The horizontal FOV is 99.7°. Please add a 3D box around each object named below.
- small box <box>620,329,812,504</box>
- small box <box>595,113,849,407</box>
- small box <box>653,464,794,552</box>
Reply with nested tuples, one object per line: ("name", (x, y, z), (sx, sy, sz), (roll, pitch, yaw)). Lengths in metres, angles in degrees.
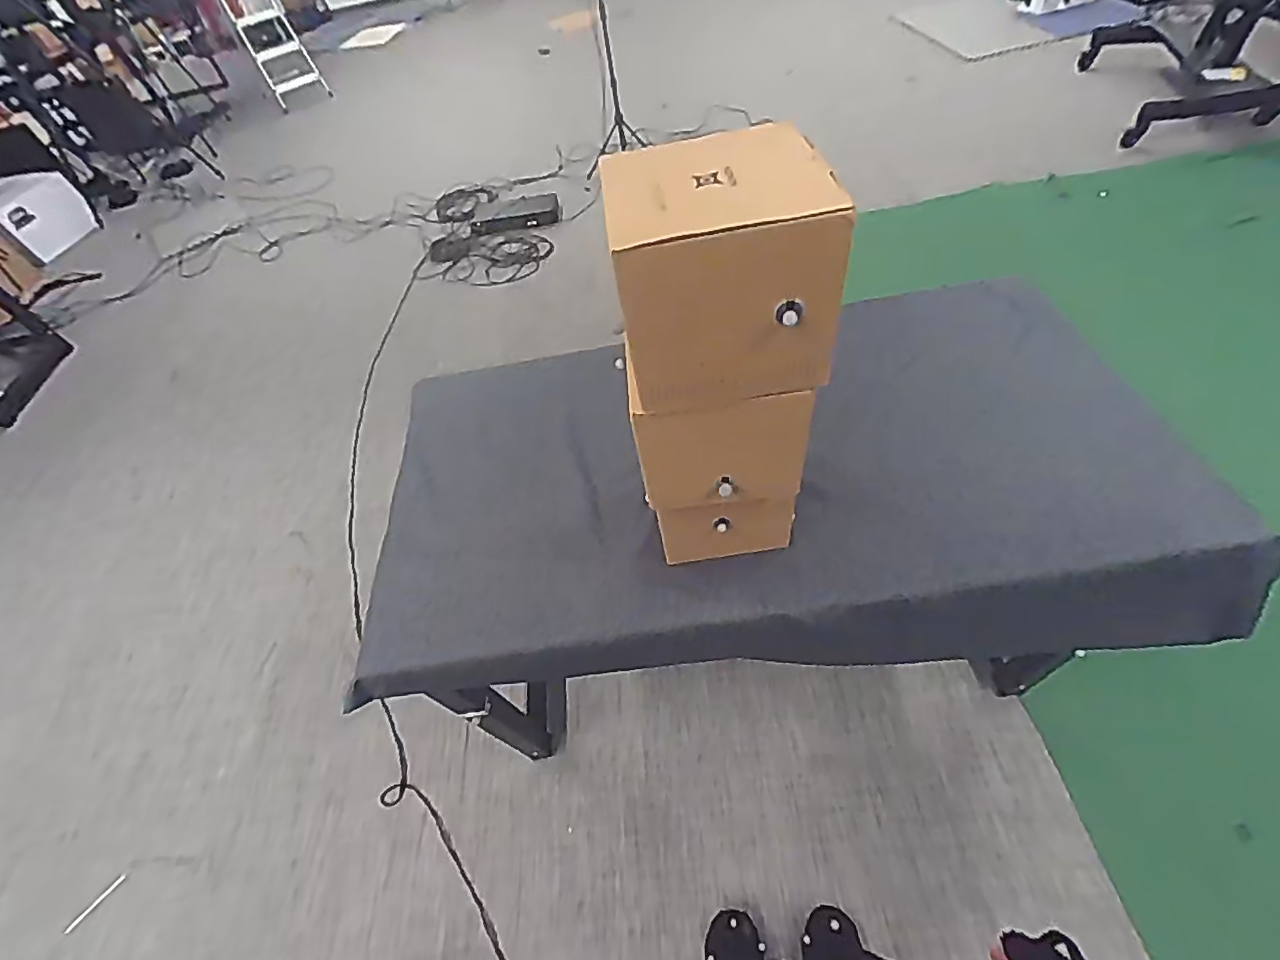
("small box", (0.080, -0.092, 0.621), (0.179, 0.176, 0.168), (-10, 54, 4))
("small box", (0.065, -0.190, 0.488), (0.179, 0.176, 0.168), (-10, 52, 4))
("small box", (0.104, -0.016, 0.761), (0.179, 0.176, 0.168), (-10, 53, 4))
